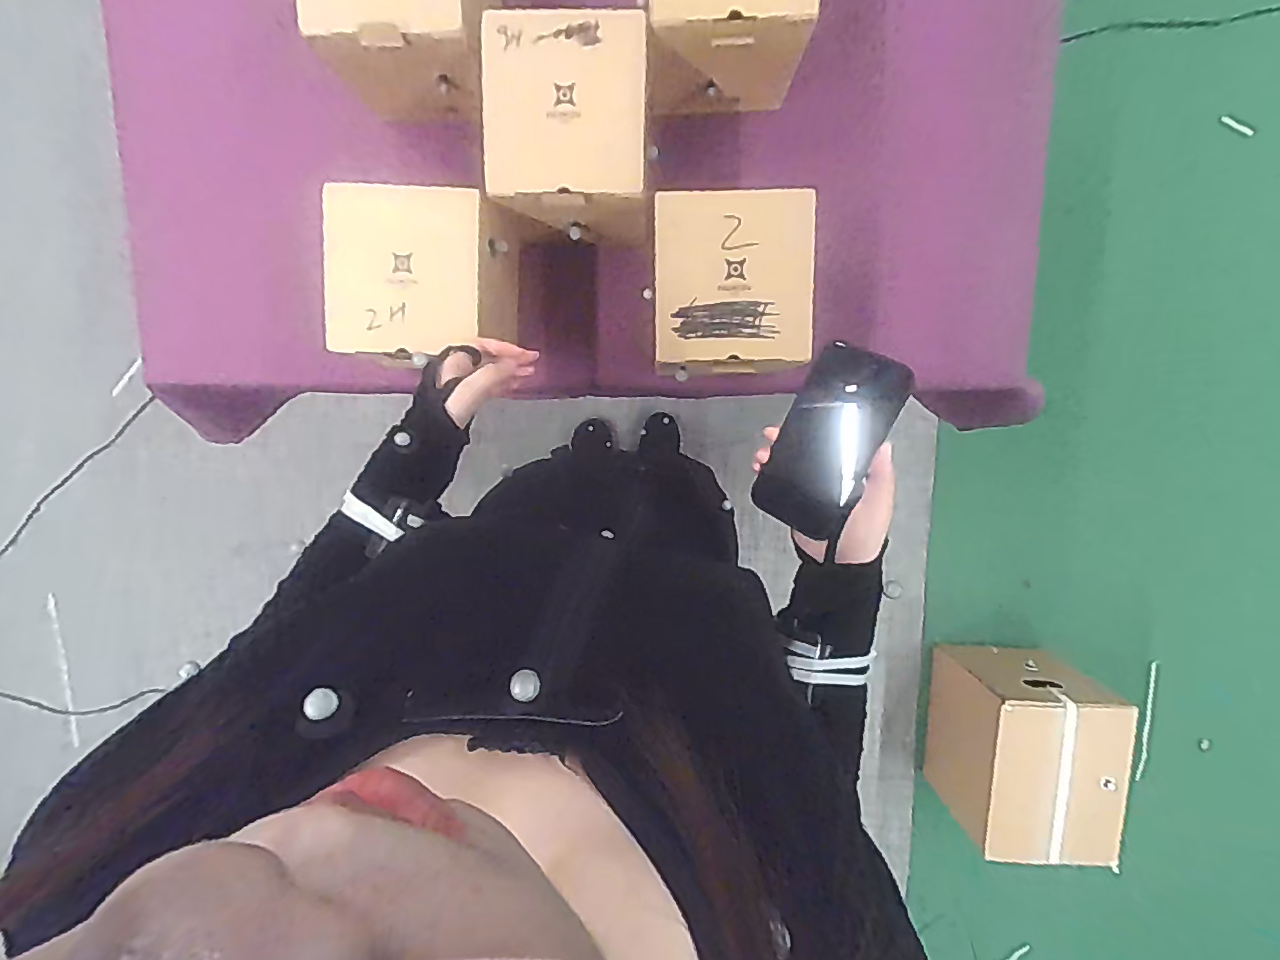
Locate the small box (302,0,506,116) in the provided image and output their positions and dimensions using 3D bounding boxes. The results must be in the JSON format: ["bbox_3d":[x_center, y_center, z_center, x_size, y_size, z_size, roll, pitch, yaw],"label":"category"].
[{"bbox_3d":[-0.252,-0.541,0.608,0.168,0.176,0.179,1,98,0],"label":"small box"}]

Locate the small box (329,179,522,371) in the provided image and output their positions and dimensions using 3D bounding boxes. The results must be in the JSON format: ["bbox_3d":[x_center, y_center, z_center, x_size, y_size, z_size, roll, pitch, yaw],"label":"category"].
[{"bbox_3d":[-0.244,-0.231,0.649,0.168,0.176,0.179,4,98,2],"label":"small box"}]

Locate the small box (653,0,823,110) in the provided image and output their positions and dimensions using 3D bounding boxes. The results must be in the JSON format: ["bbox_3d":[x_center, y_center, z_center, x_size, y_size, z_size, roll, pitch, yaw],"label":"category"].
[{"bbox_3d":[0.098,-0.548,0.598,0.168,0.176,0.179,-1,99,2],"label":"small box"}]
